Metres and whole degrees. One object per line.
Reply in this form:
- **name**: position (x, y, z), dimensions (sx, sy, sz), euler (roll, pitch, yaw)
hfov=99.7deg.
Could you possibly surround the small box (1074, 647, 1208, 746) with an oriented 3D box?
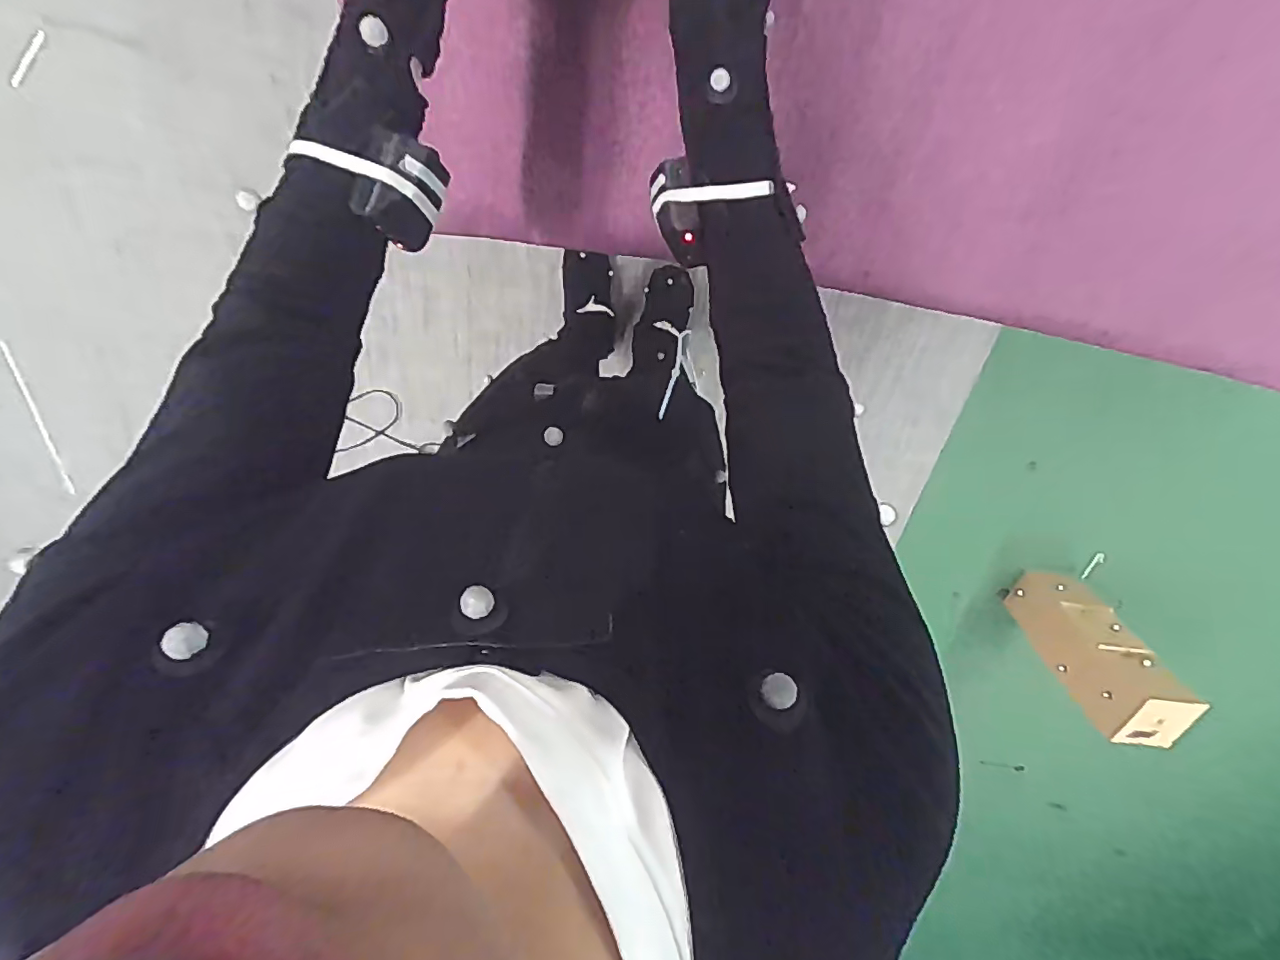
- **small box**: position (1.324, 0.578, 1.450), dimensions (0.168, 0.176, 0.179), euler (7, 121, -3)

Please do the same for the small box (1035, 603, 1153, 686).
- **small box**: position (1.318, 0.486, 1.587), dimensions (0.168, 0.176, 0.179), euler (8, 122, -3)
